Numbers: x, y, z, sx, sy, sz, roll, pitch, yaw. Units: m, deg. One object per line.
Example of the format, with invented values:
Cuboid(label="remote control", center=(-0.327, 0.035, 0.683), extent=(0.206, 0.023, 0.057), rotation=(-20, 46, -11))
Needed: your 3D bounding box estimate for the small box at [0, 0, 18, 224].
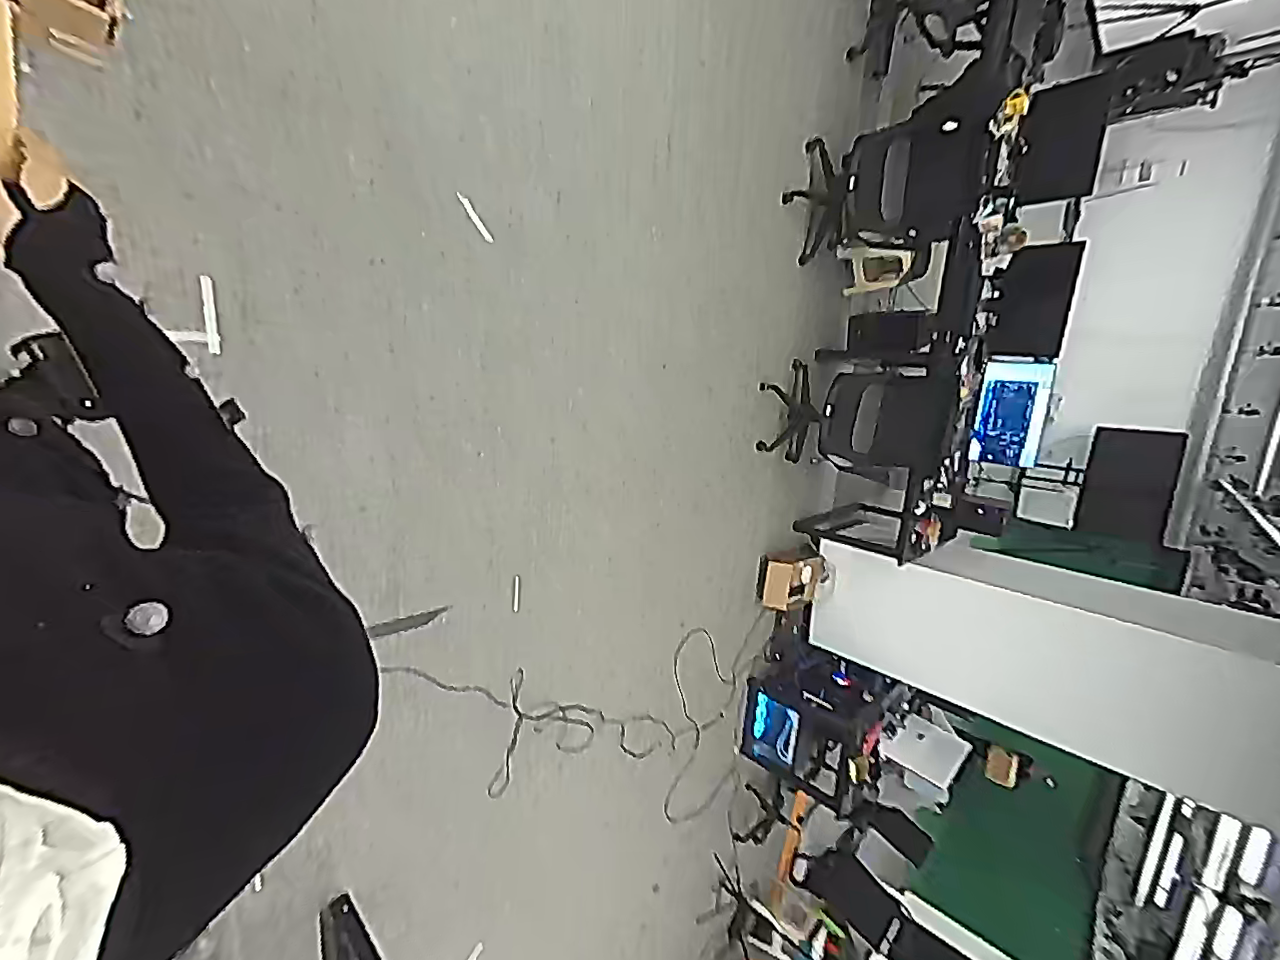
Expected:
Cuboid(label="small box", center=(-0.652, -0.321, 0.444), extent=(0.168, 0.176, 0.179), rotation=(-4, 85, -57))
